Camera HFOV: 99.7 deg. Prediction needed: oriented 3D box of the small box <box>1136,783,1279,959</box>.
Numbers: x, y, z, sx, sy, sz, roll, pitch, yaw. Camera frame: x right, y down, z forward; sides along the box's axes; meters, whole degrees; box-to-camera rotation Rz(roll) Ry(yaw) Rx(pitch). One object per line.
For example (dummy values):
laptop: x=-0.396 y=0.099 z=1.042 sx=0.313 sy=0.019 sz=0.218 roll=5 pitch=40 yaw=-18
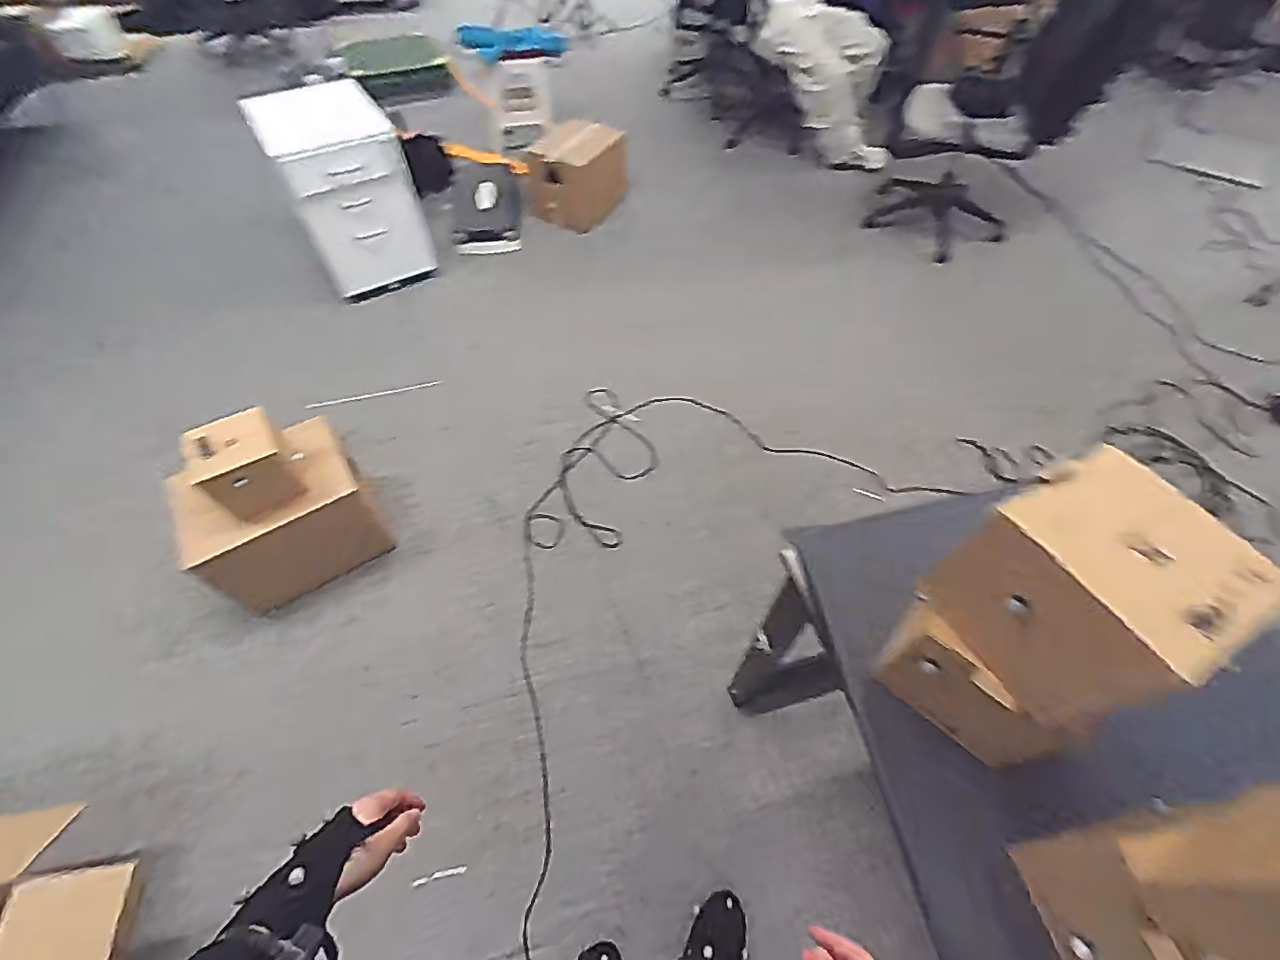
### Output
small box: x=0.519 y=0.319 z=0.372 sx=0.179 sy=0.176 sz=0.168 roll=-19 pitch=56 yaw=-13

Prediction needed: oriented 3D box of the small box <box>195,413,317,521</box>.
small box: x=-0.940 y=-0.028 z=1.333 sx=0.179 sy=0.176 sz=0.168 roll=-27 pitch=61 yaw=-19

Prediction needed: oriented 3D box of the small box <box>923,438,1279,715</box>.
small box: x=0.423 y=0.096 z=0.530 sx=0.168 sy=0.176 sz=0.179 roll=-24 pitch=57 yaw=-17

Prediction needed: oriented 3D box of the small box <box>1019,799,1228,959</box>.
small box: x=0.517 y=0.410 z=0.506 sx=0.179 sy=0.176 sz=0.168 roll=-9 pitch=54 yaw=-7
